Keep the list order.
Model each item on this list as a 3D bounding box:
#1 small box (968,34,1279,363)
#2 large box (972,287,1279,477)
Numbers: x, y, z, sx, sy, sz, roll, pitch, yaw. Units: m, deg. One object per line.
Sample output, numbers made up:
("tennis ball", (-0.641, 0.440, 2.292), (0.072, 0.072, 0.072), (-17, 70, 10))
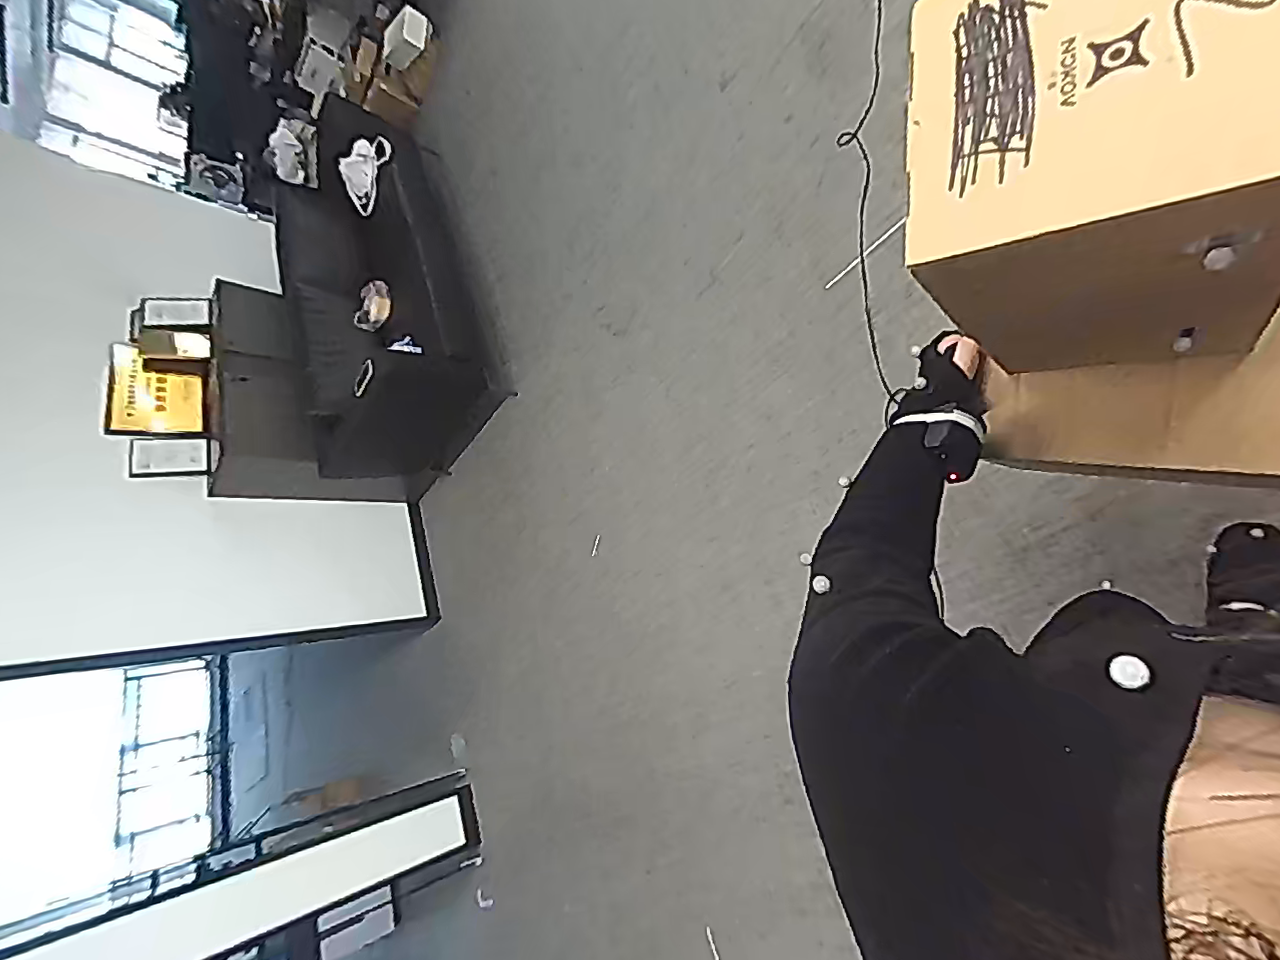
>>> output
("small box", (0.399, -0.202, 0.456), (0.179, 0.176, 0.168), (3, 89, 44))
("large box", (0.626, -0.166, 0.577), (0.408, 0.320, 0.320), (7, 94, 43))
